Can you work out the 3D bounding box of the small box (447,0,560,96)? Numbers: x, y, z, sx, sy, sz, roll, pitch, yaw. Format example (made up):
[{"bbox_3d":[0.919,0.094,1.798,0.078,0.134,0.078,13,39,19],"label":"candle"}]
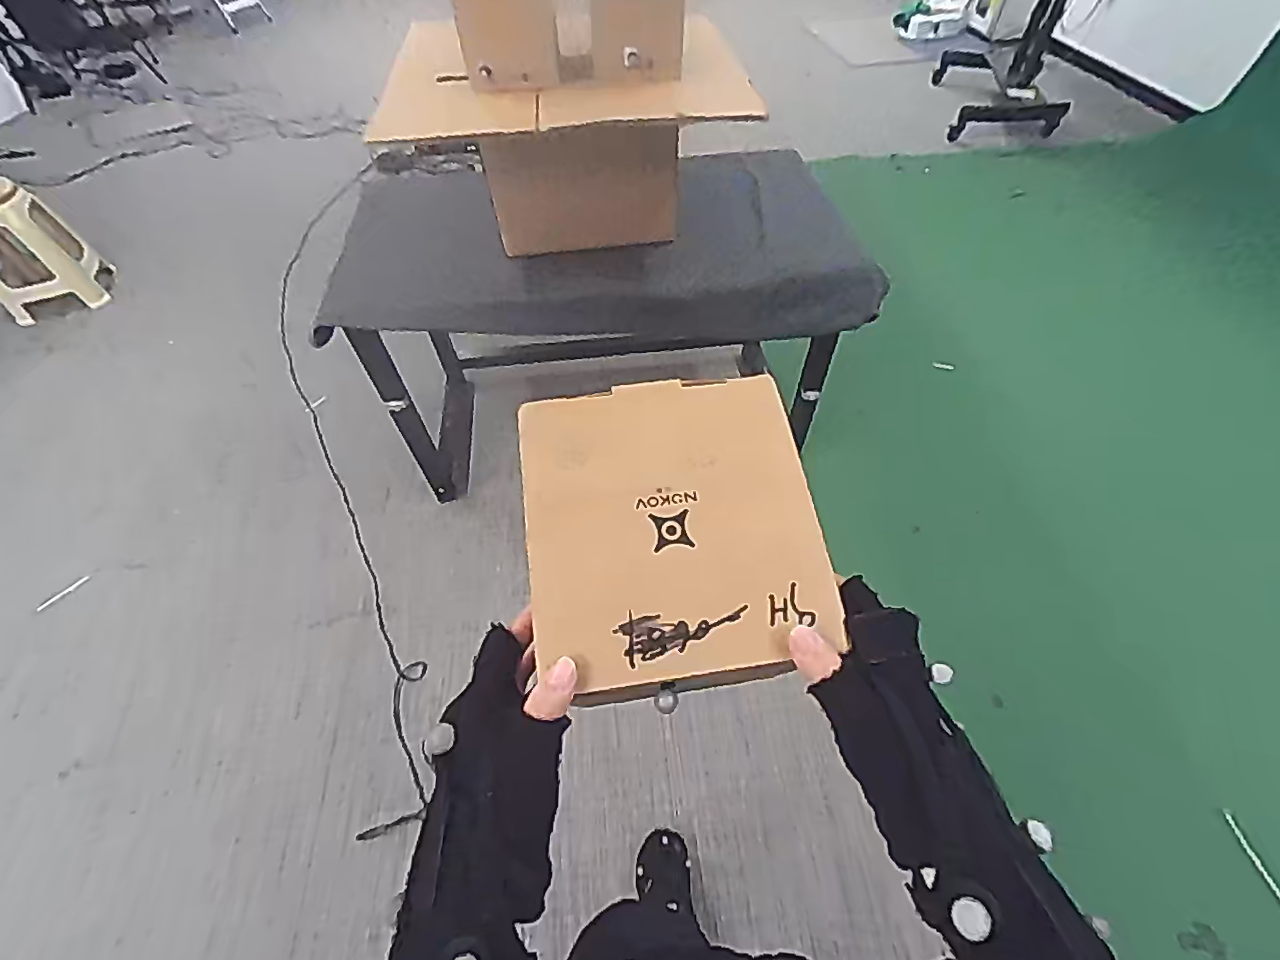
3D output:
[{"bbox_3d":[-0.243,-0.833,0.999,0.168,0.176,0.179,-5,53,-1],"label":"small box"}]

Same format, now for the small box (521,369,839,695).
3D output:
[{"bbox_3d":[0.014,0.047,0.390,0.168,0.176,0.179,-8,66,-3],"label":"small box"}]
